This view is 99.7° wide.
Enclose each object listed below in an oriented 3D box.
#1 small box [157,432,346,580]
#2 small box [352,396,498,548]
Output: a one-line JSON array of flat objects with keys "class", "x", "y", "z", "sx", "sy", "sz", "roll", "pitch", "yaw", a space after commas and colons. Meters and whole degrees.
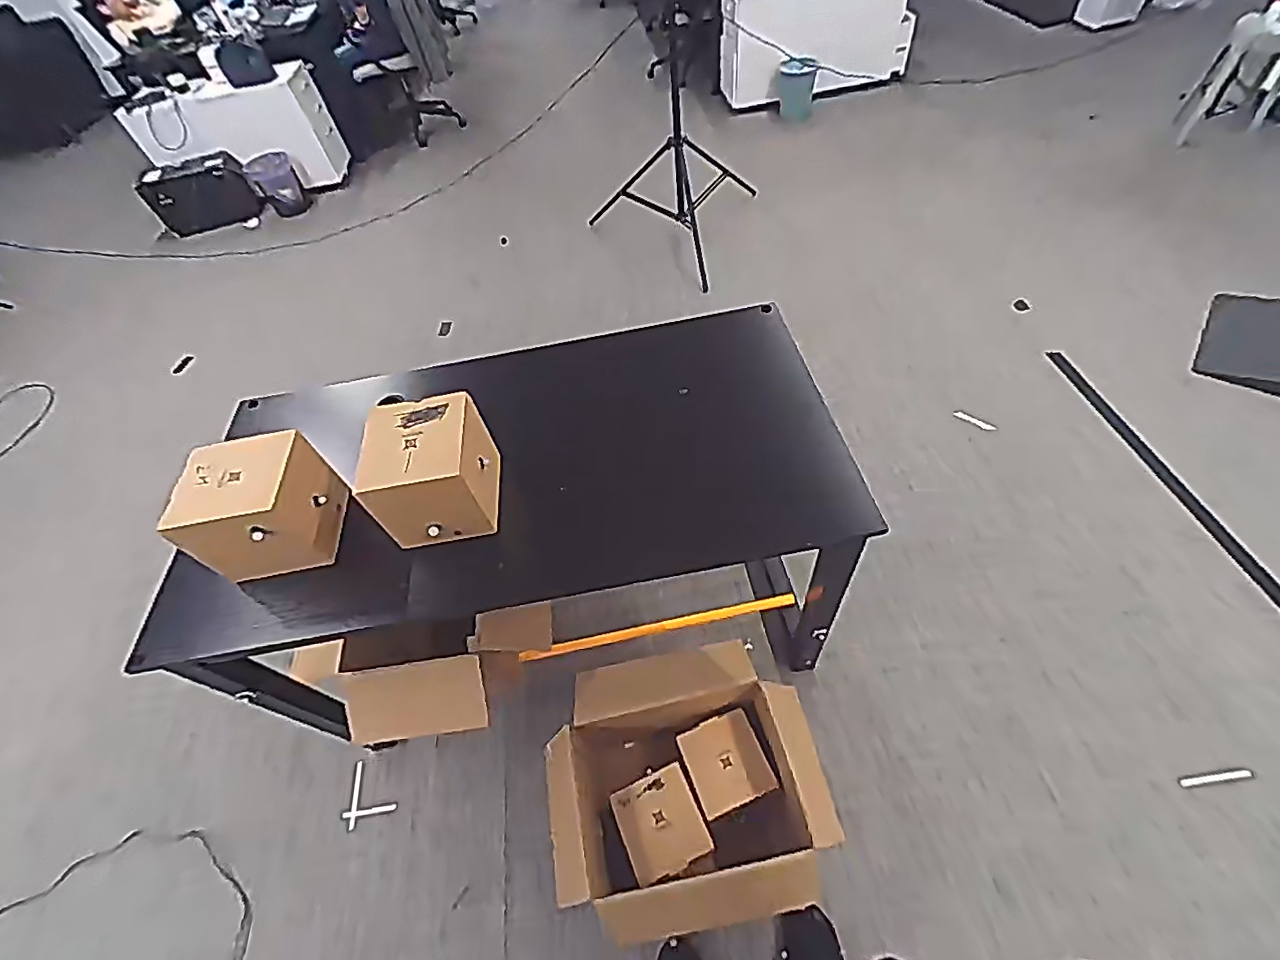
[{"class": "small box", "x": -0.625, "y": 0.047, "z": 0.901, "sx": 0.179, "sy": 0.176, "sz": 0.168, "roll": -11, "pitch": 52, "yaw": -1}, {"class": "small box", "x": -0.345, "y": -0.011, "z": 0.907, "sx": 0.168, "sy": 0.176, "sz": 0.179, "roll": -10, "pitch": 53, "yaw": 1}]
